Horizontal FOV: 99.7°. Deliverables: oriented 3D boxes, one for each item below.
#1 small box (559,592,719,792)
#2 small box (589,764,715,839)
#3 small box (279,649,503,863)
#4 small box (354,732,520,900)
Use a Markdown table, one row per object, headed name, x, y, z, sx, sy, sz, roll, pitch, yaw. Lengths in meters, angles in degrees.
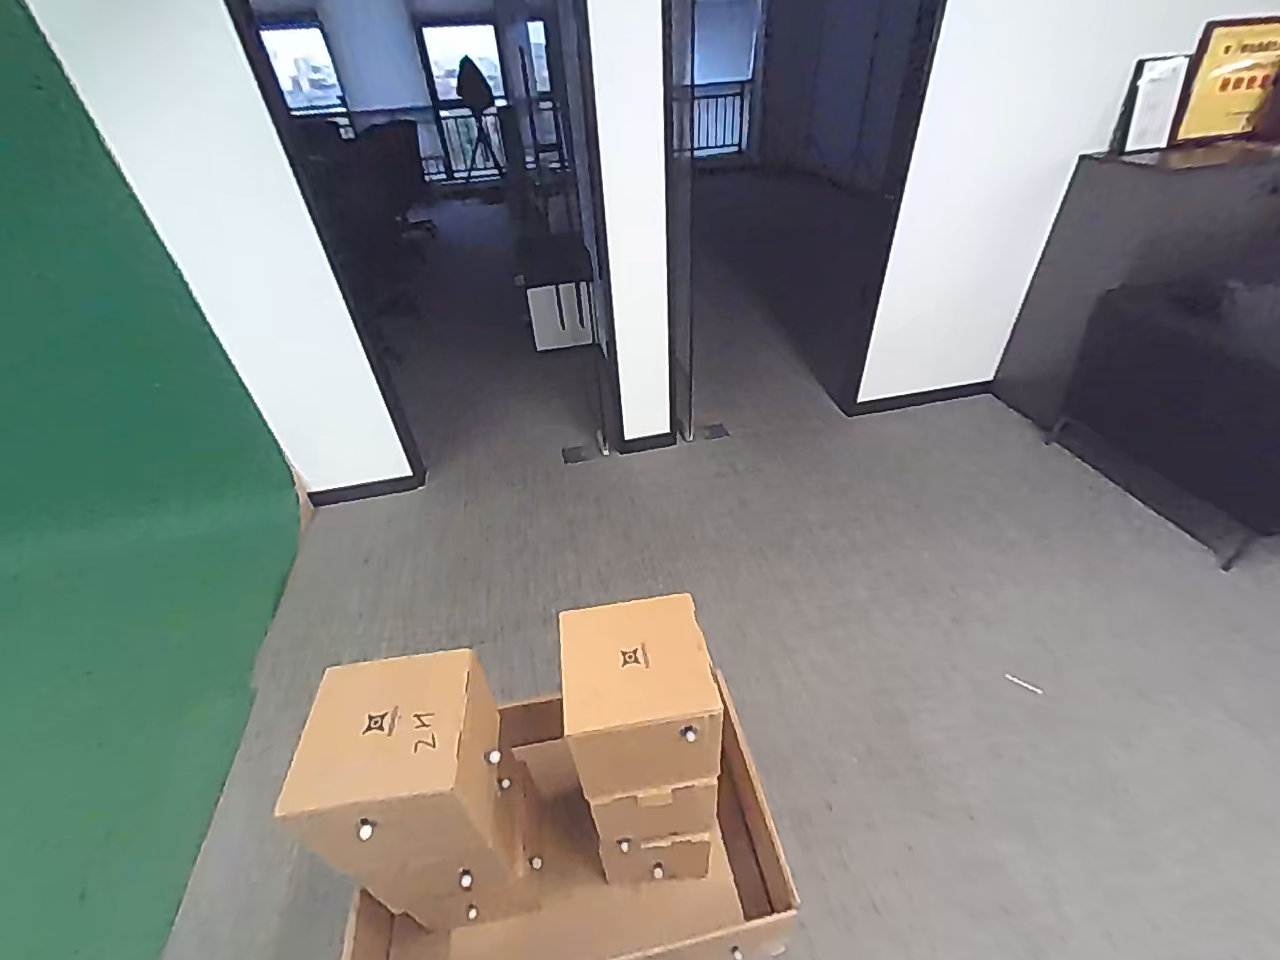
| name | x | y | z | sx | sy | sz | roll | pitch | yaw |
| --- | --- | --- | --- | --- | --- | --- | --- | --- | --- |
| small box | -0.002 | 0.273 | 0.694 | 0.179 | 0.176 | 0.168 | -8 | 38 | -5 |
| small box | 0.013 | 0.400 | 0.794 | 0.168 | 0.176 | 0.179 | -8 | 38 | -3 |
| small box | -0.275 | 0.331 | 0.647 | 0.179 | 0.176 | 0.168 | -6 | 39 | -3 |
| small box | -0.265 | 0.454 | 0.756 | 0.168 | 0.176 | 0.179 | -9 | 38 | -5 |
